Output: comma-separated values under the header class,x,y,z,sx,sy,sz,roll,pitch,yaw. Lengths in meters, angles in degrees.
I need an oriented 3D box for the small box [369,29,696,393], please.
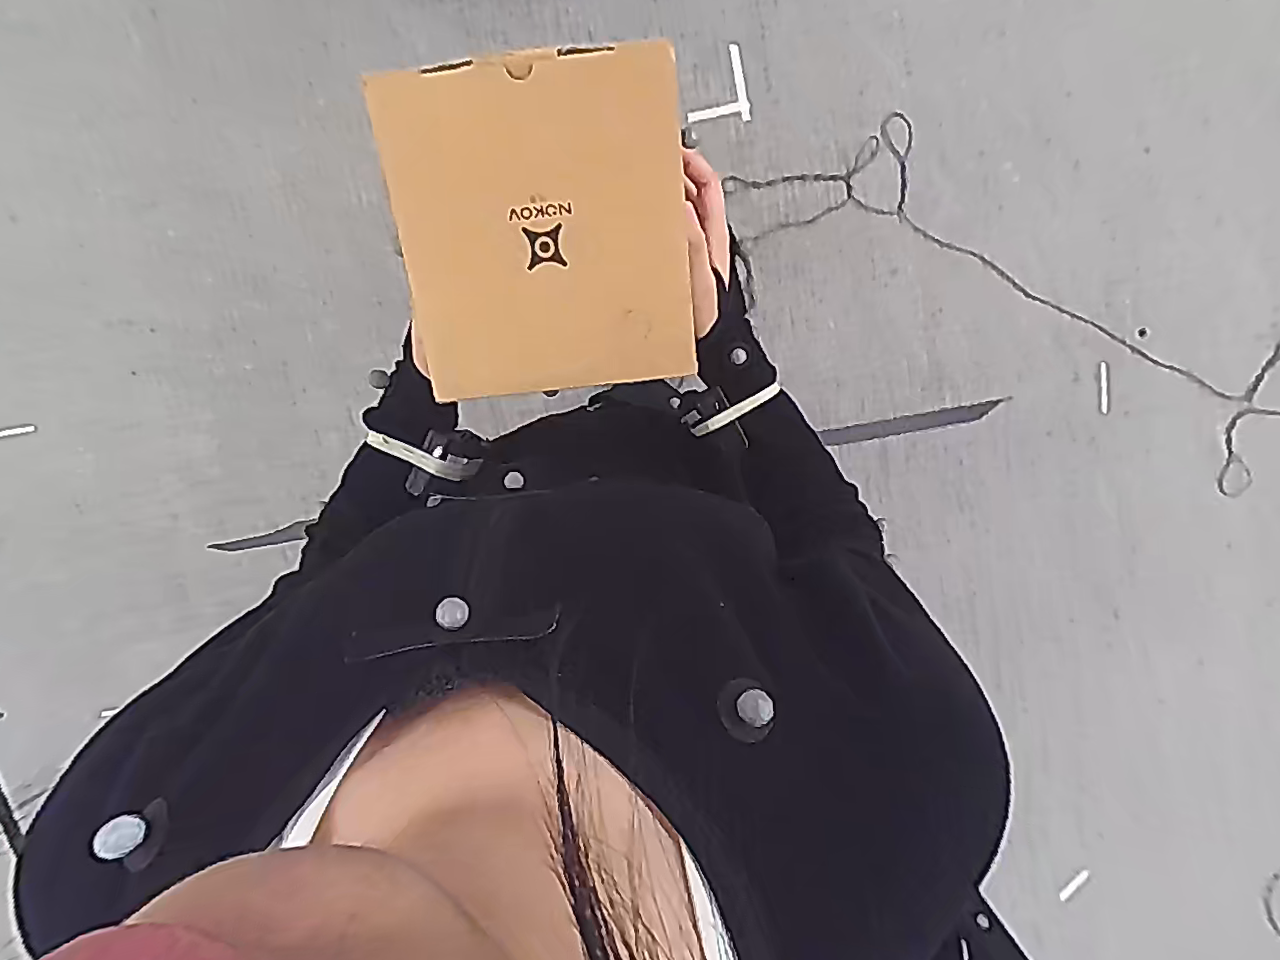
class,x,y,z,sx,sy,sz,roll,pitch,yaw
small box,-0.053,-0.169,0.384,0.168,0.176,0.179,-6,109,2
